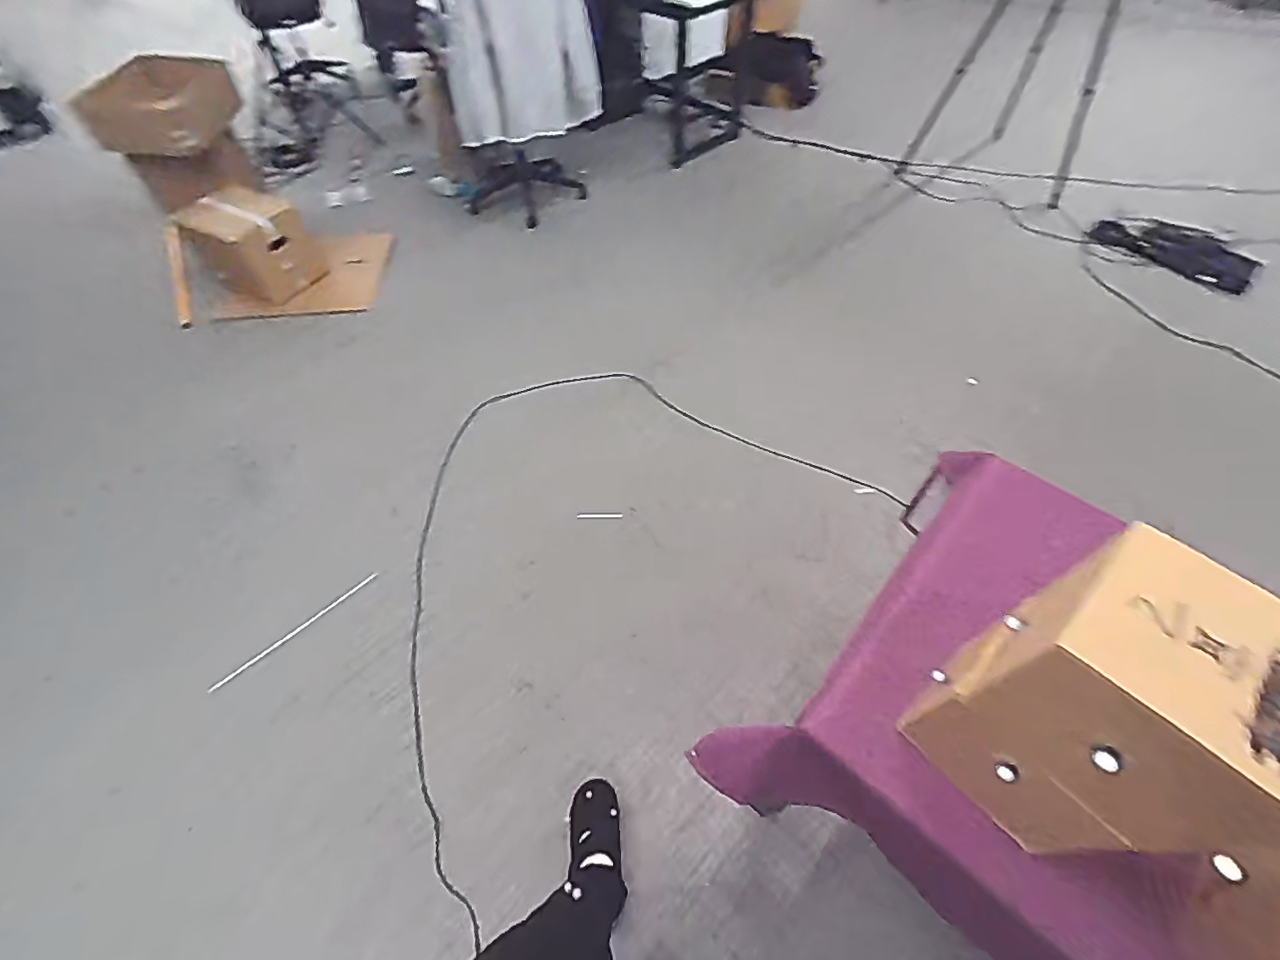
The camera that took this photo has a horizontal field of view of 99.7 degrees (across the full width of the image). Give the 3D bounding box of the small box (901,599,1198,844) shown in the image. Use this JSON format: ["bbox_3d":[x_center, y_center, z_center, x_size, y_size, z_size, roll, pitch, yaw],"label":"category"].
[{"bbox_3d":[0.434,0.273,0.606,0.168,0.176,0.179,-34,61,-21],"label":"small box"}]
